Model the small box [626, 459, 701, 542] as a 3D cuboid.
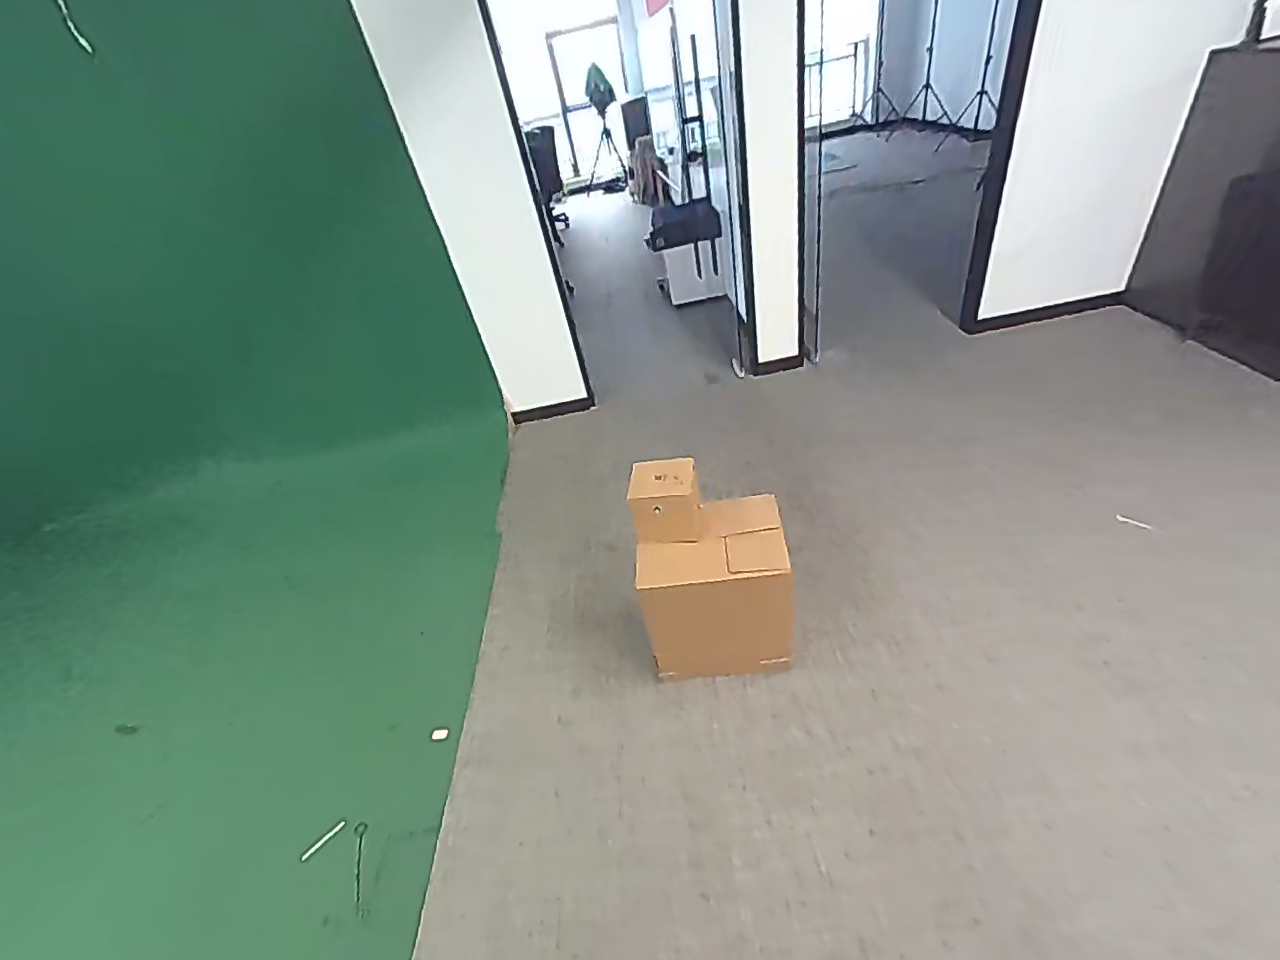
[{"bbox_3d":[0.071,0.061,1.523,0.179,0.176,0.168,-4,38,12],"label":"small box"}]
